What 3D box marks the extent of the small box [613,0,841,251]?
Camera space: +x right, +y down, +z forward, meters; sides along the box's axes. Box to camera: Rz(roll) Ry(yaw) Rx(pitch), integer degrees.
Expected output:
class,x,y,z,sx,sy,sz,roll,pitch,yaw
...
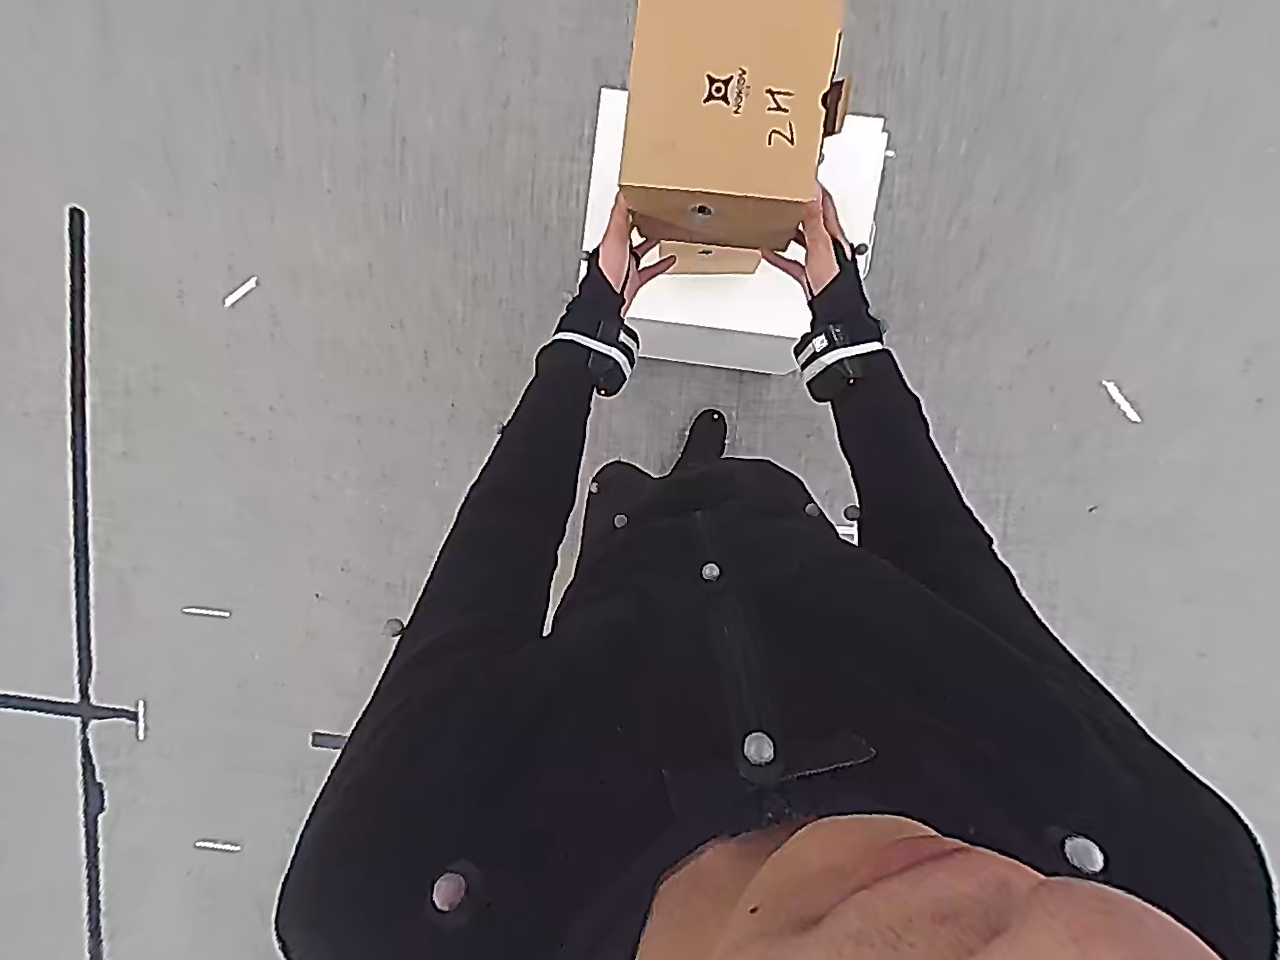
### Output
class,x,y,z,sx,sy,sz,roll,pitch,yaw
small box,0.080,-0.342,0.545,0.179,0.176,0.168,8,100,5

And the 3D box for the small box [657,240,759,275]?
class,x,y,z,sx,sy,sz,roll,pitch,yaw
small box,0.116,-0.452,0.909,0.179,0.176,0.168,0,95,2
